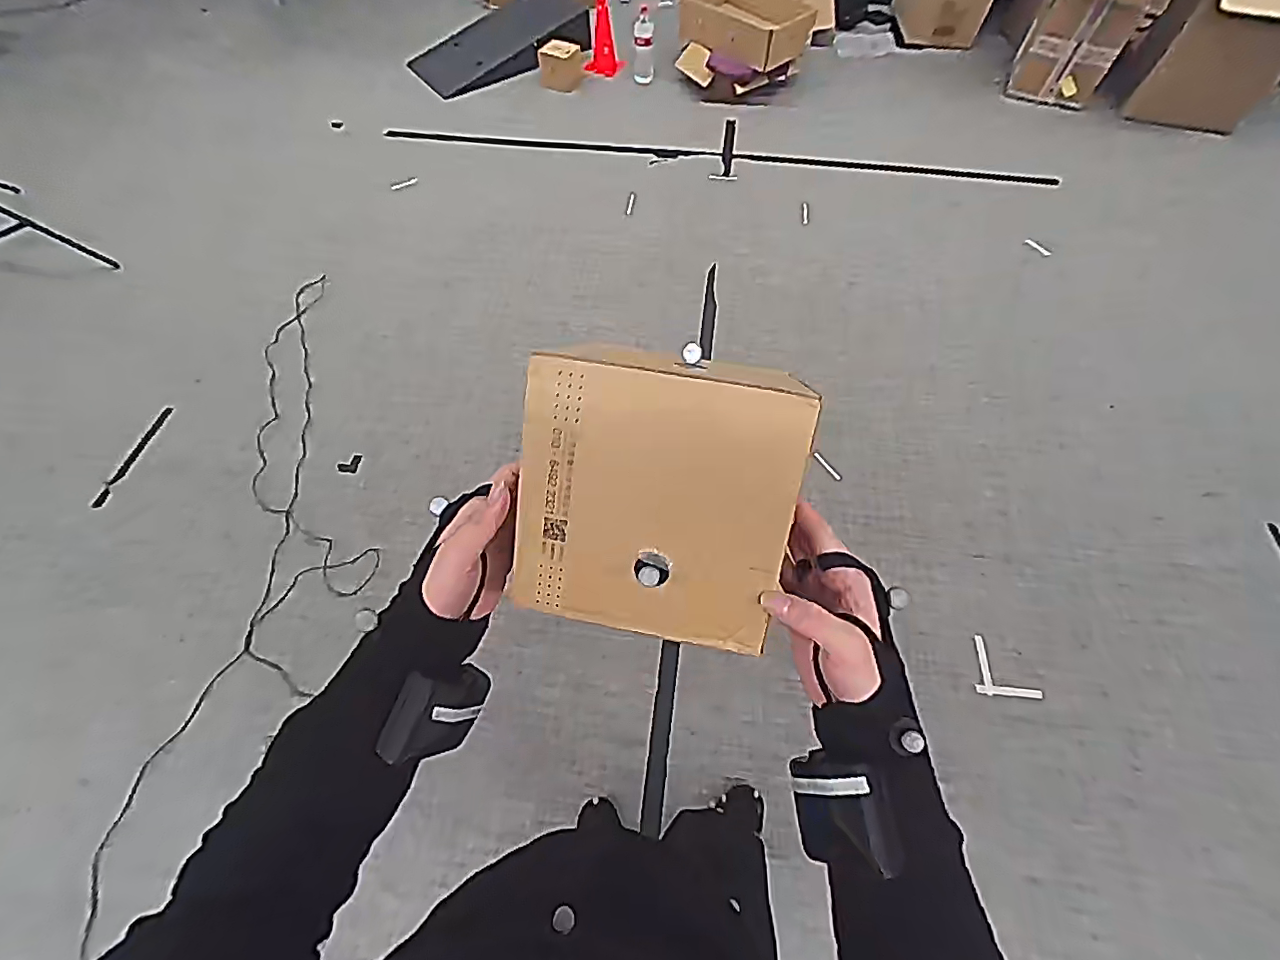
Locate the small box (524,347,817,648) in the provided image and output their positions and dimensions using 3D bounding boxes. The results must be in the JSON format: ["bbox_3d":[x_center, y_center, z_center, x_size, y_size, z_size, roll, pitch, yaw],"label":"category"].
[{"bbox_3d":[0.020,-0.003,0.411,0.176,0.168,0.179,10,19,5],"label":"small box"}]
